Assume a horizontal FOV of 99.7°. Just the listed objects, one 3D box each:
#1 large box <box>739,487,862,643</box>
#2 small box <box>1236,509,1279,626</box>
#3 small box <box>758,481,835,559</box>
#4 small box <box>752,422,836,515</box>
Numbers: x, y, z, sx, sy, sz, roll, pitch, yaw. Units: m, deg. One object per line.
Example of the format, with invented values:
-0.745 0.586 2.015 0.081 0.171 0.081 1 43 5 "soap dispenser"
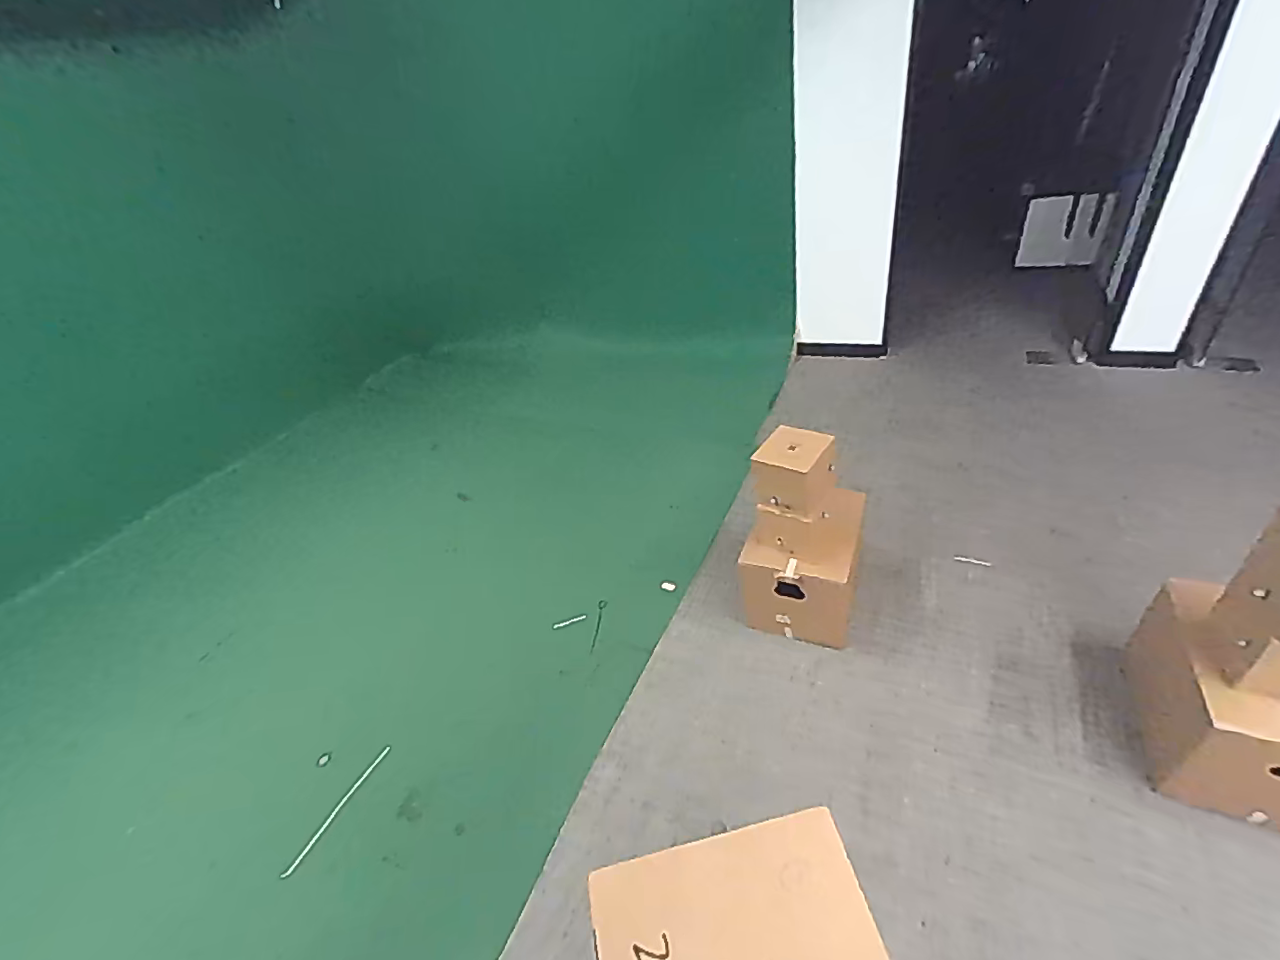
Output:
0.538 0.256 1.775 0.320 0.320 0.408 8 42 26 "large box"
1.265 0.174 0.984 0.168 0.176 0.179 1 41 21 "small box"
0.463 0.099 1.596 0.168 0.176 0.179 16 47 35 "small box"
0.430 -0.033 1.507 0.168 0.176 0.179 18 49 37 "small box"
